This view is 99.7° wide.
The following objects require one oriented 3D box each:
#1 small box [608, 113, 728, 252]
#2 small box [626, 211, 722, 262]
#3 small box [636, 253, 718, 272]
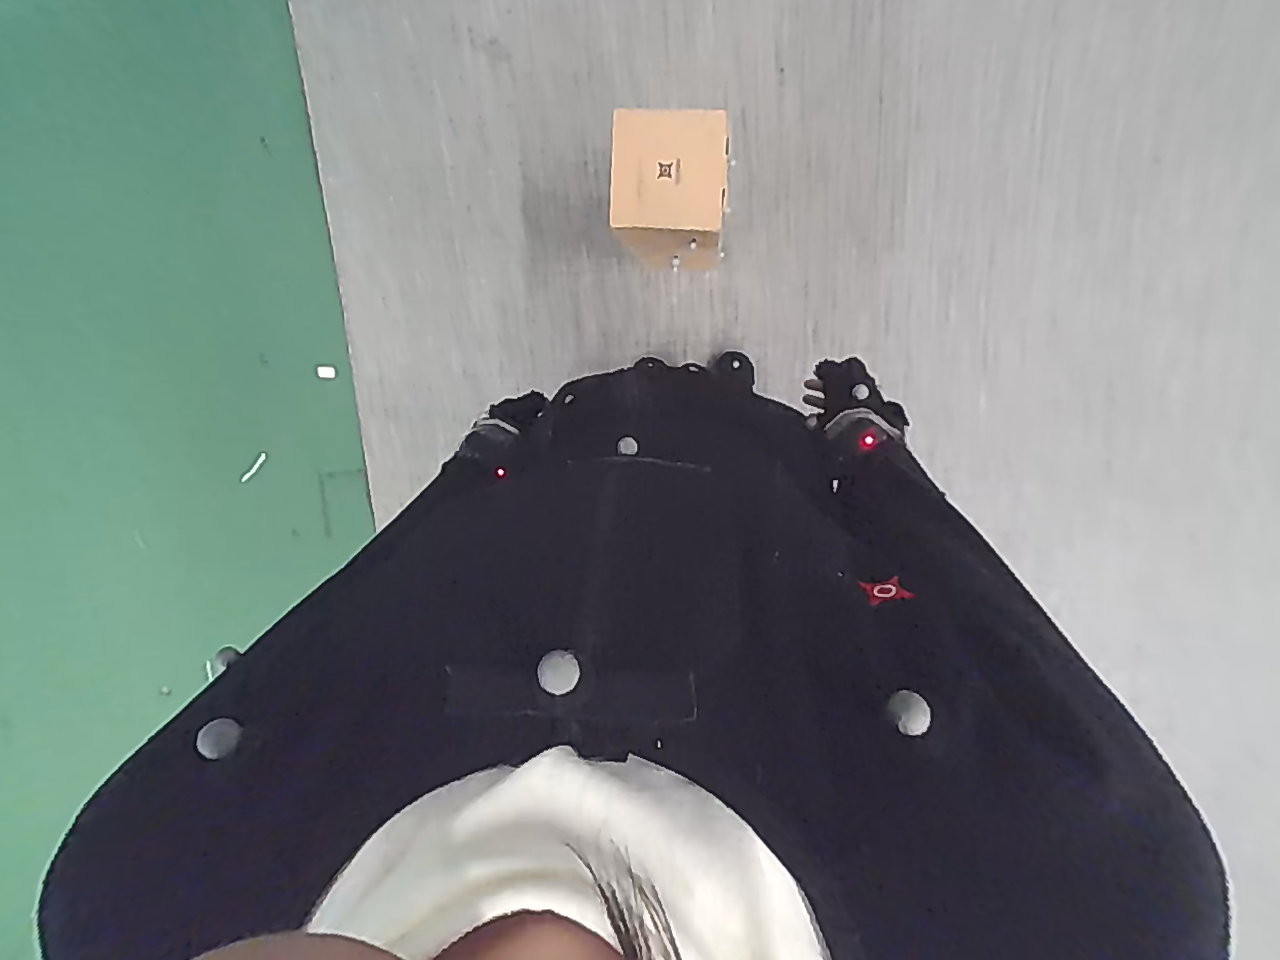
[{"bbox_3d":[0.049,-0.481,0.895,0.179,0.176,0.168,4,103,7],"label":"small box"},{"bbox_3d":[0.070,-0.524,1.053,0.179,0.176,0.168,2,106,7],"label":"small box"},{"bbox_3d":[0.090,-0.564,1.207,0.179,0.176,0.168,4,104,7],"label":"small box"}]
